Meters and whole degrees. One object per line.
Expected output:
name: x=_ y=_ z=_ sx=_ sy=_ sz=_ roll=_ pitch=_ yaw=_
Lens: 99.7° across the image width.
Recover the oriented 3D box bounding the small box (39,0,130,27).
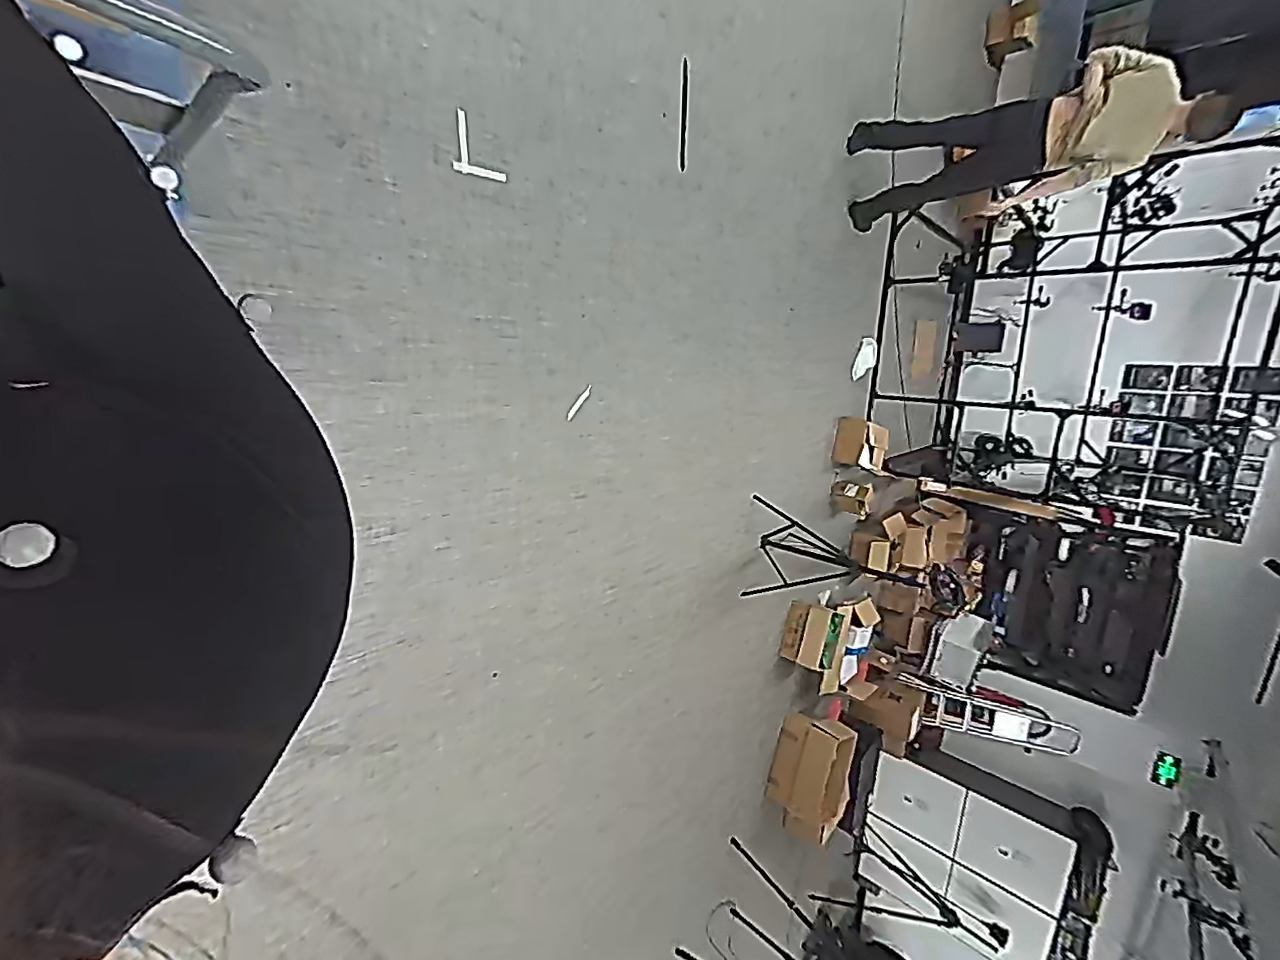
small box: x=-0.846 y=-0.793 z=0.763 sx=0.179 sy=0.176 sz=0.168 roll=-10 pitch=107 yaw=-48
